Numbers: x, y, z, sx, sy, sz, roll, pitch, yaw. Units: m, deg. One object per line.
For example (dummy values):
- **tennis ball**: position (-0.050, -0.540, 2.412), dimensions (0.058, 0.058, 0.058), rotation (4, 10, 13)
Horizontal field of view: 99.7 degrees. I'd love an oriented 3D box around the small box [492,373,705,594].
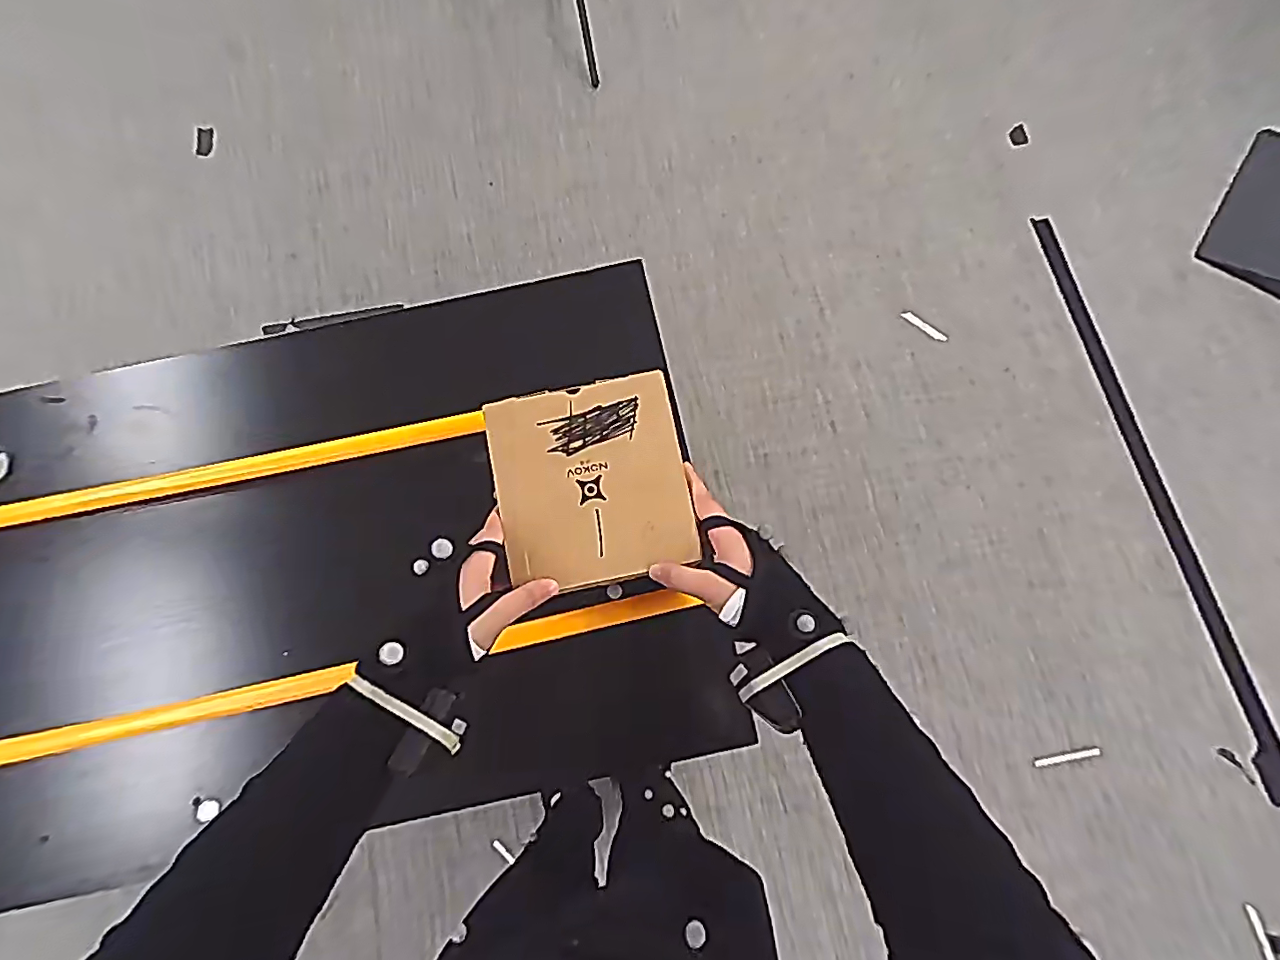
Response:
- **small box**: position (-0.038, 0.015, 0.554), dimensions (0.168, 0.176, 0.179), rotation (-12, 80, 0)
